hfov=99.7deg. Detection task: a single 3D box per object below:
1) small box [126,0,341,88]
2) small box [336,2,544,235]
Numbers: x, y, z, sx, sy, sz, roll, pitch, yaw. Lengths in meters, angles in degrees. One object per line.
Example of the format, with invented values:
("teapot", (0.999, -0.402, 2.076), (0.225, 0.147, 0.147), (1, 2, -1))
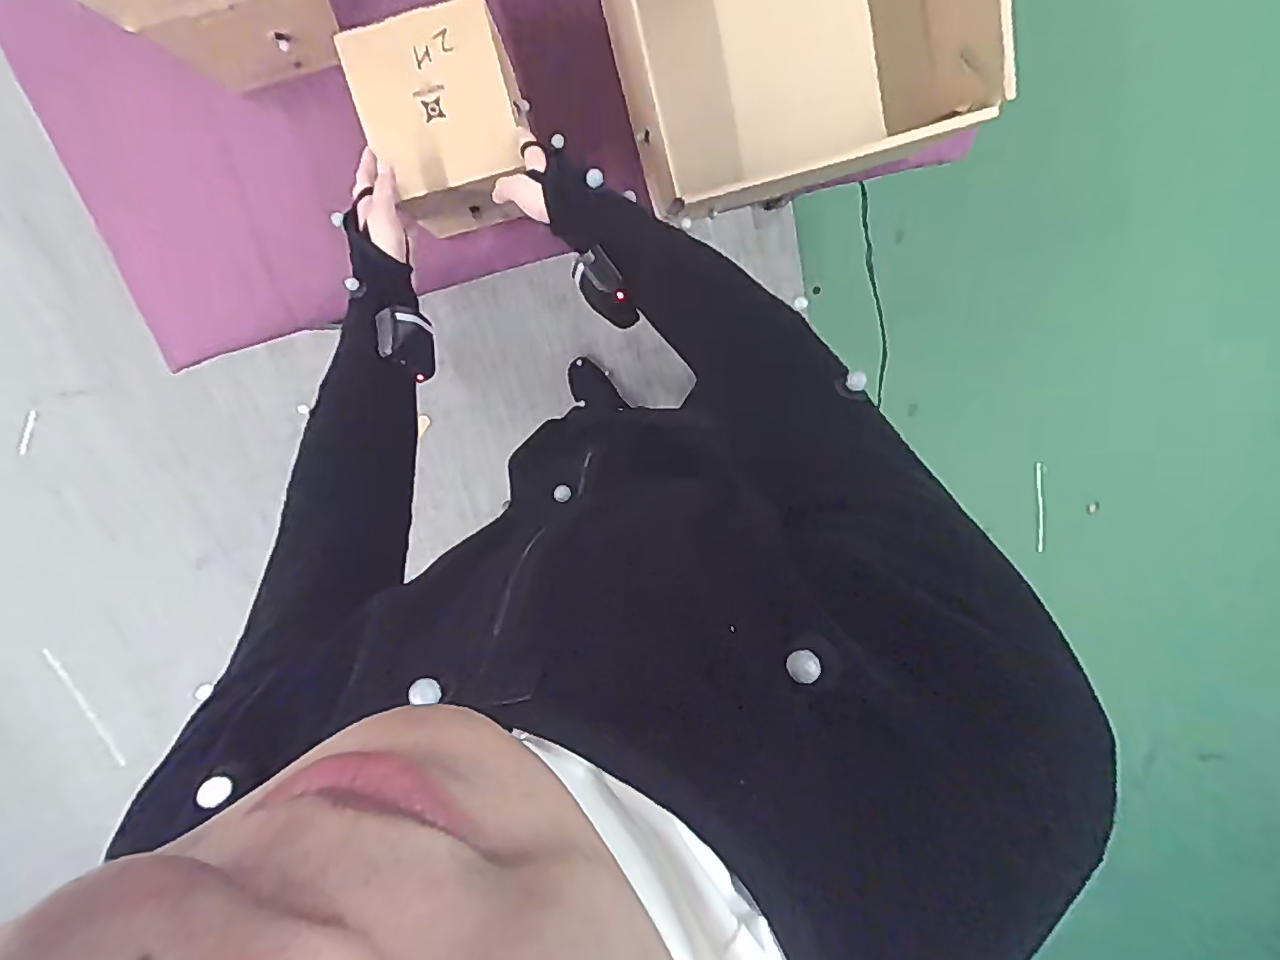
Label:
("small box", (-0.480, -0.586, 0.619), (0.168, 0.176, 0.179), (-15, 106, 0))
("small box", (-0.228, -0.421, 0.669), (0.168, 0.176, 0.179), (-14, 101, 2))
